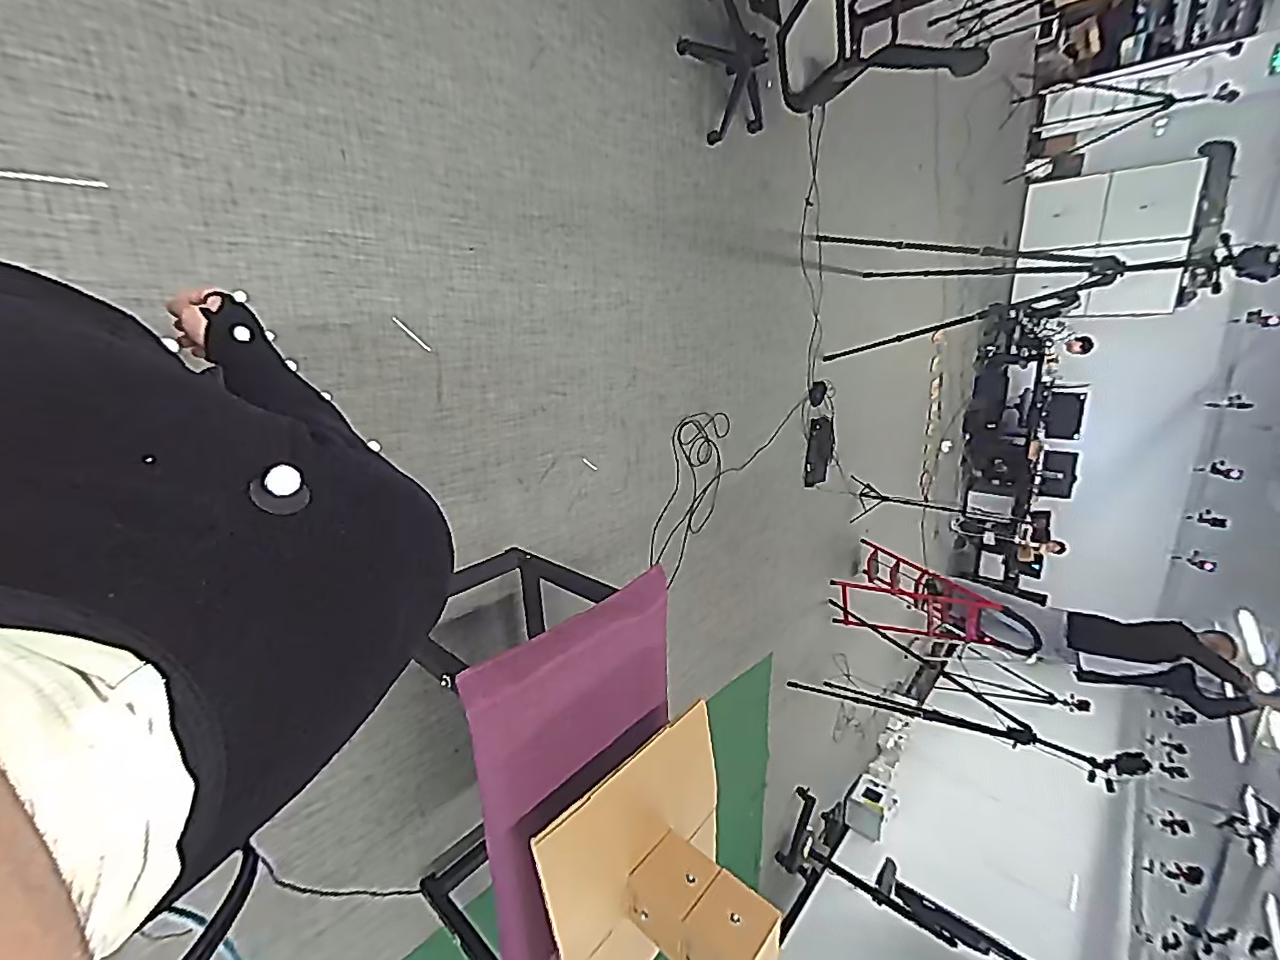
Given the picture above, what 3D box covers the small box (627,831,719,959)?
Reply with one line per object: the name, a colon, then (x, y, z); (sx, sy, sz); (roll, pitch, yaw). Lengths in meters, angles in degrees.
small box: (0.085, 1.064, 1.398); (0.179, 0.176, 0.168); (-19, 115, -44)
